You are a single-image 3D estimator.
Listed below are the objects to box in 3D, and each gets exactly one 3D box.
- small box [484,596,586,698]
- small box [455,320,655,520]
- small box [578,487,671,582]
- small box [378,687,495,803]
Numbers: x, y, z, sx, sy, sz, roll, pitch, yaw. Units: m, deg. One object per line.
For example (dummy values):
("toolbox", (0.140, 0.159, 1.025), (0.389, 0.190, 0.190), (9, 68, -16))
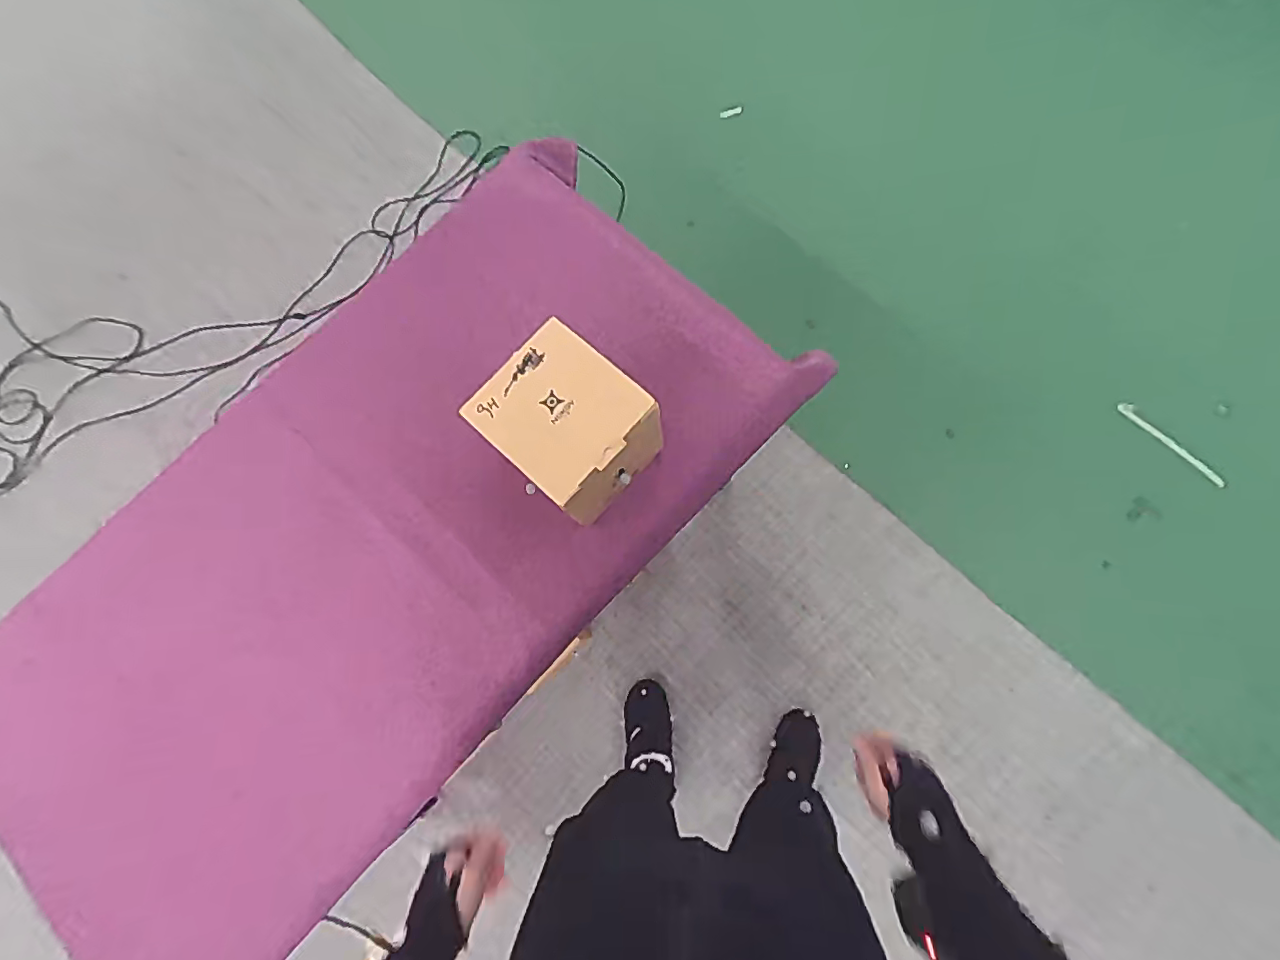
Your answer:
("small box", (-0.252, 0.409, 1.352), (0.168, 0.176, 0.179), (43, 84, 13))
("small box", (-0.095, -0.064, 0.703), (0.179, 0.176, 0.168), (42, 83, 12))
("small box", (-0.032, 0.150, 1.396), (0.168, 0.176, 0.179), (39, 82, 11))
("small box", (-0.485, 0.633, 1.316), (0.168, 0.176, 0.179), (42, 82, 12))
